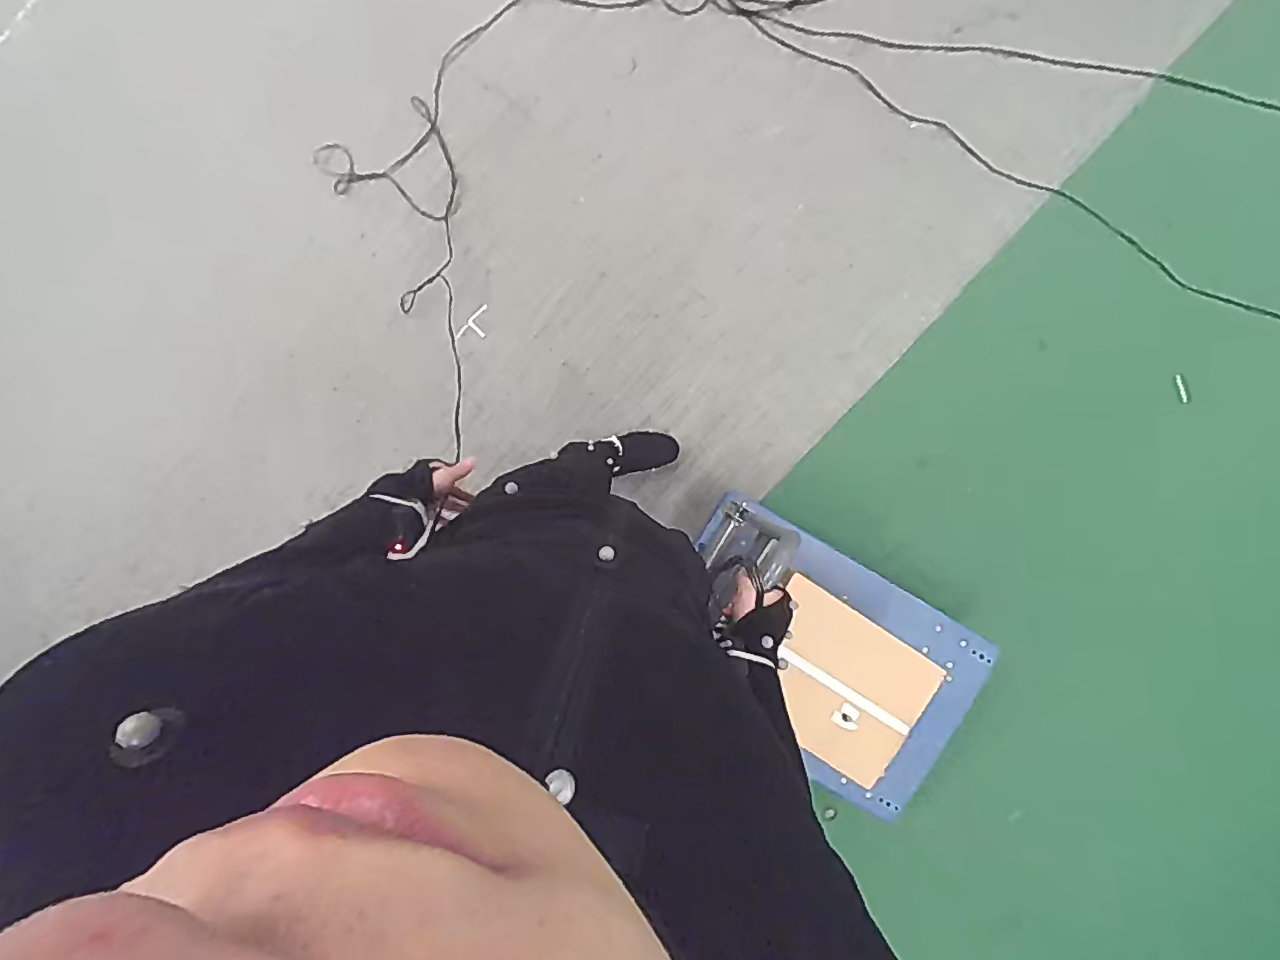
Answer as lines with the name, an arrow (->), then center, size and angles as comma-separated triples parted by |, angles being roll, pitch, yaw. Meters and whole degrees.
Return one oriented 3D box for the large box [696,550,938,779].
large box -> 0.399, 0.419, 1.322 | 0.408, 0.320, 0.320 | 34, 92, -3
